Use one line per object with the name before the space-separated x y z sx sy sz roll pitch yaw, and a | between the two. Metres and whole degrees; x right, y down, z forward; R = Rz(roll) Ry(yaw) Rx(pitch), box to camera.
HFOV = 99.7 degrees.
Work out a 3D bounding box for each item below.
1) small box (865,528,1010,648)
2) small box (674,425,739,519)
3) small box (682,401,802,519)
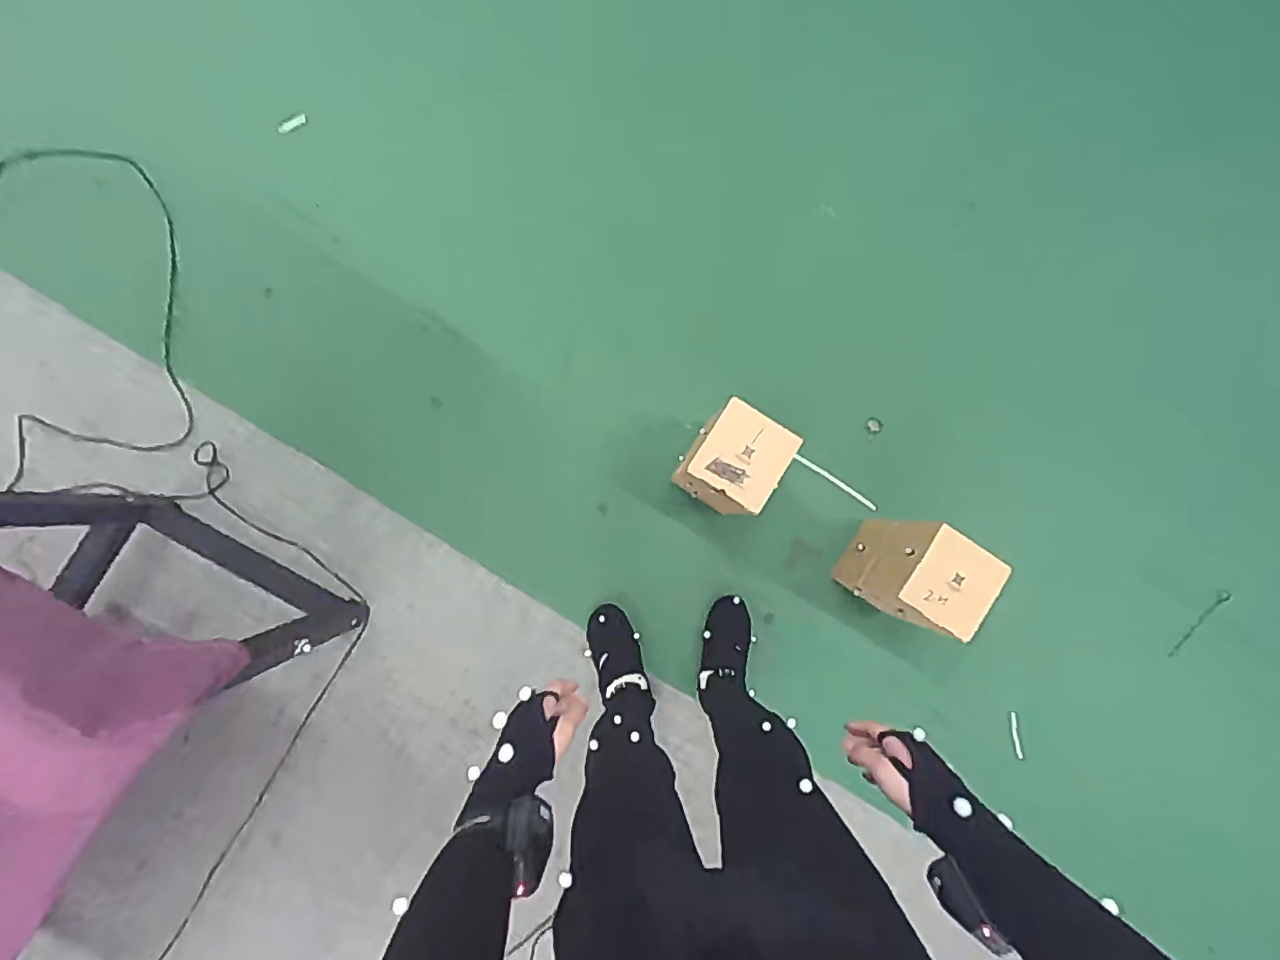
small box | 0.605 0.212 1.125 0.168 0.176 0.179 34 86 0
small box | 0.194 -0.024 1.286 0.168 0.176 0.179 33 86 0
small box | 0.200 -0.034 1.123 0.168 0.176 0.179 33 85 -1
